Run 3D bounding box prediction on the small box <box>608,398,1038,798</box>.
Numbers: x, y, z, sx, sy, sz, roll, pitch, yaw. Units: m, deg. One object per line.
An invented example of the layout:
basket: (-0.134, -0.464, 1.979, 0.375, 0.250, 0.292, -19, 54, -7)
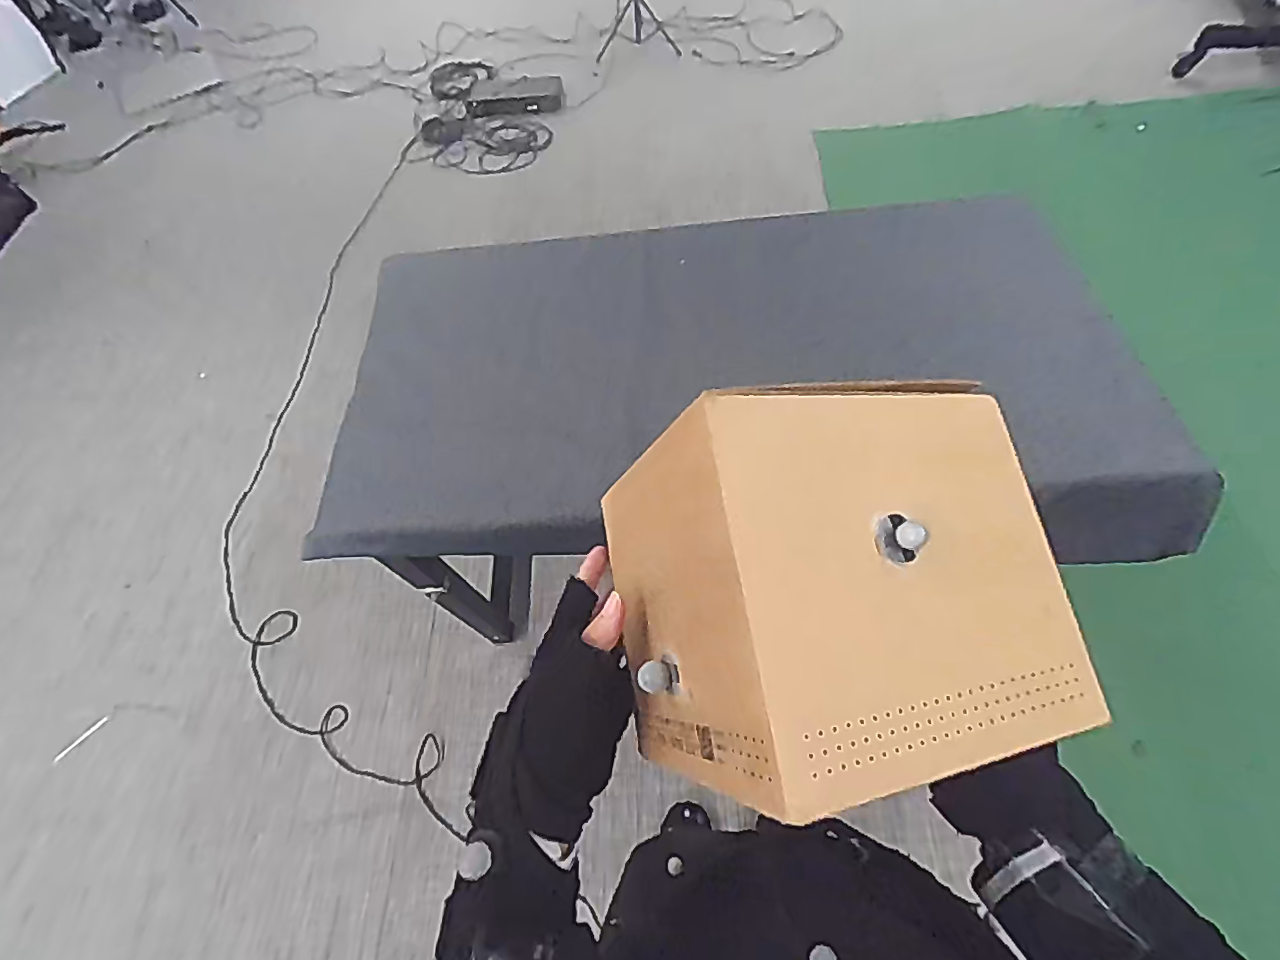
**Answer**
small box: (0.093, 0.063, 0.325, 0.179, 0.168, 0.176, -5, 73, -20)
